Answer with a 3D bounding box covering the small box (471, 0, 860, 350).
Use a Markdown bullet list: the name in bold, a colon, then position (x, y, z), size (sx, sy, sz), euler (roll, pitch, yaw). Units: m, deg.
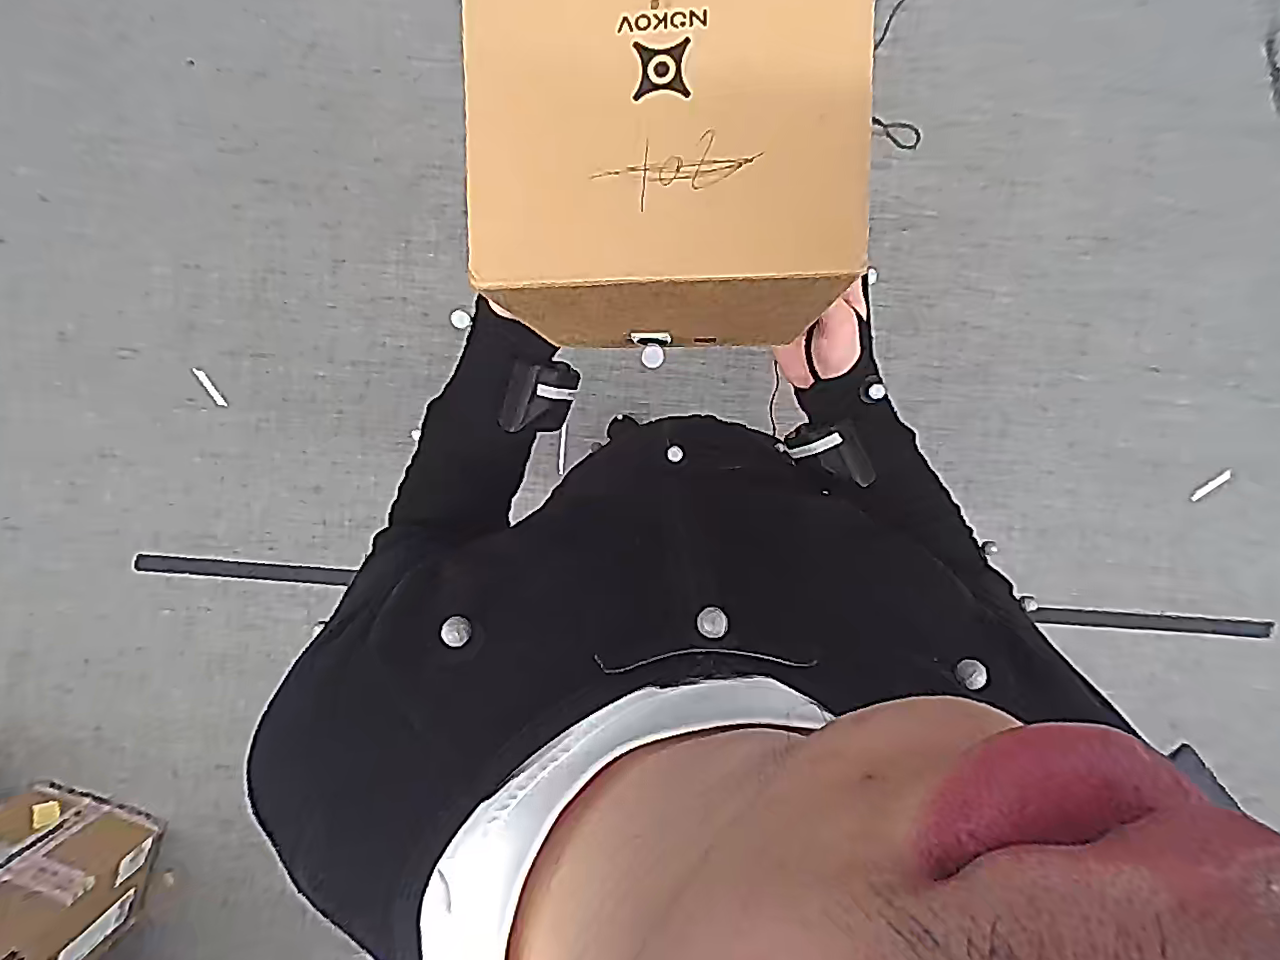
- **small box**: position (0.016, -0.177, 0.308), size (0.168, 0.176, 0.179), euler (0, 95, 6)
